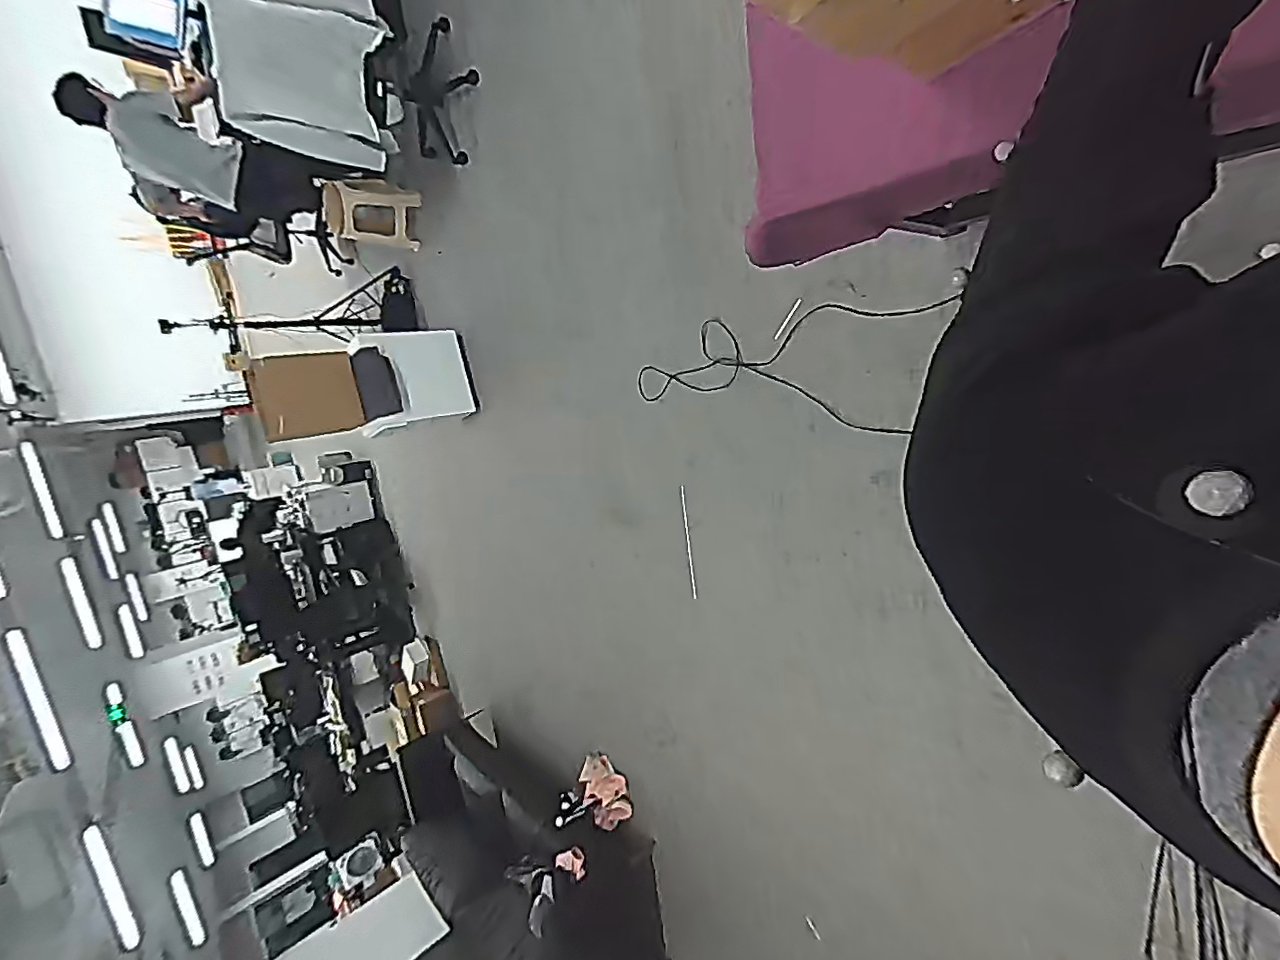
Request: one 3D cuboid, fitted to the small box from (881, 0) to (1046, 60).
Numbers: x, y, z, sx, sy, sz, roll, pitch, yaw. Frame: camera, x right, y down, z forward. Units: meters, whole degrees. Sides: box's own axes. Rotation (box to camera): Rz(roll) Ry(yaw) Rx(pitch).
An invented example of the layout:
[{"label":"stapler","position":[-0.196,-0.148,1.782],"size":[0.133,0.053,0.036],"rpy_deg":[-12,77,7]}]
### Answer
[{"label":"small box","position":[0.328,-0.571,0.549],"size":[0.168,0.176,0.179],"rpy_deg":[-4,99,48]}]
